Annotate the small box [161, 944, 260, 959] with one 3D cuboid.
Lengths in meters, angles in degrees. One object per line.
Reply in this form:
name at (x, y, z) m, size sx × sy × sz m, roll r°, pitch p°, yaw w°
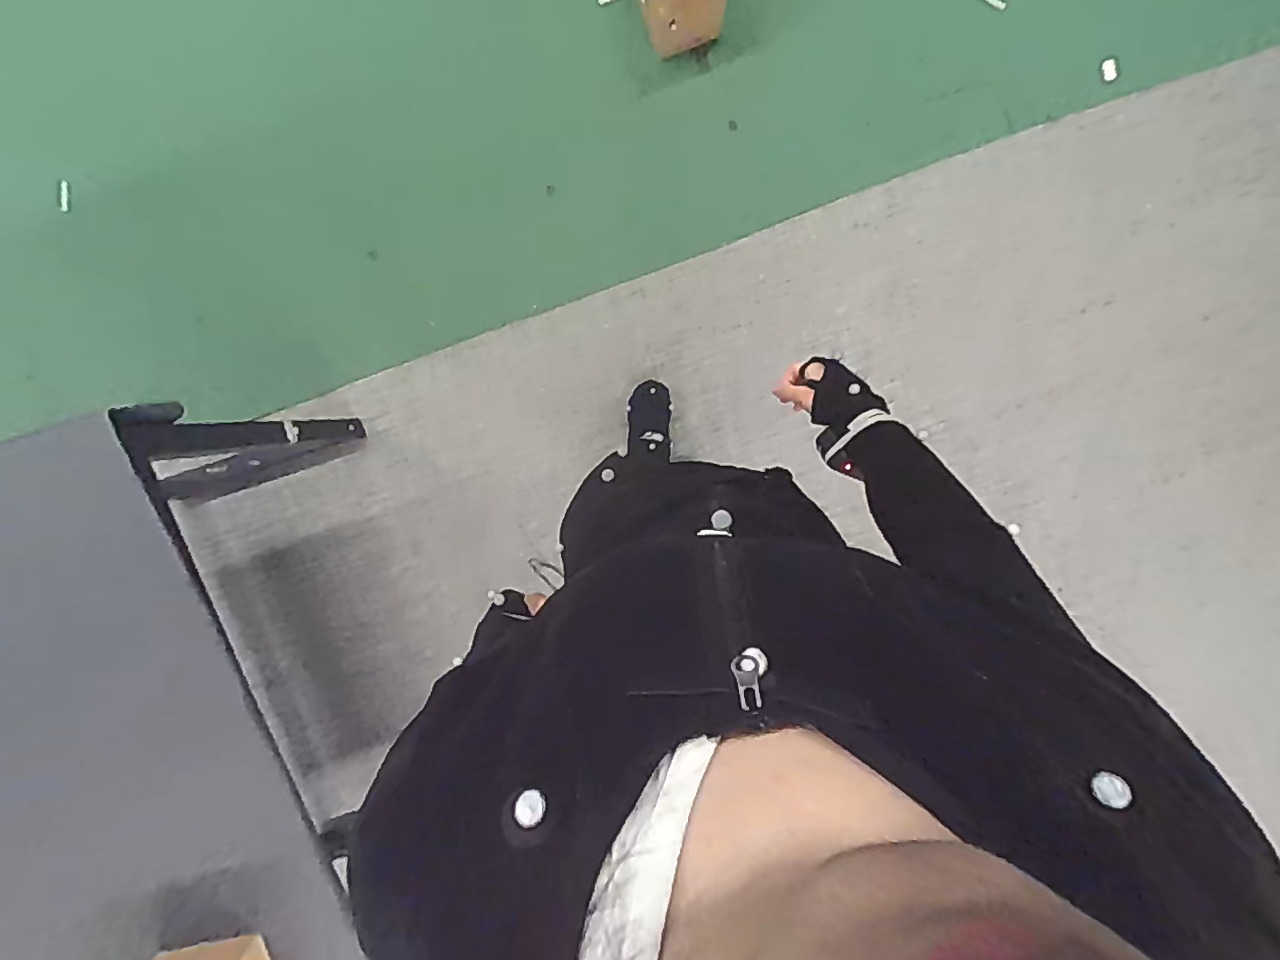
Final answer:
small box at (-0.665, 0.820, 0.775) m, size 0.179 × 0.176 × 0.168 m, roll -13°, pitch 97°, yaw 2°
